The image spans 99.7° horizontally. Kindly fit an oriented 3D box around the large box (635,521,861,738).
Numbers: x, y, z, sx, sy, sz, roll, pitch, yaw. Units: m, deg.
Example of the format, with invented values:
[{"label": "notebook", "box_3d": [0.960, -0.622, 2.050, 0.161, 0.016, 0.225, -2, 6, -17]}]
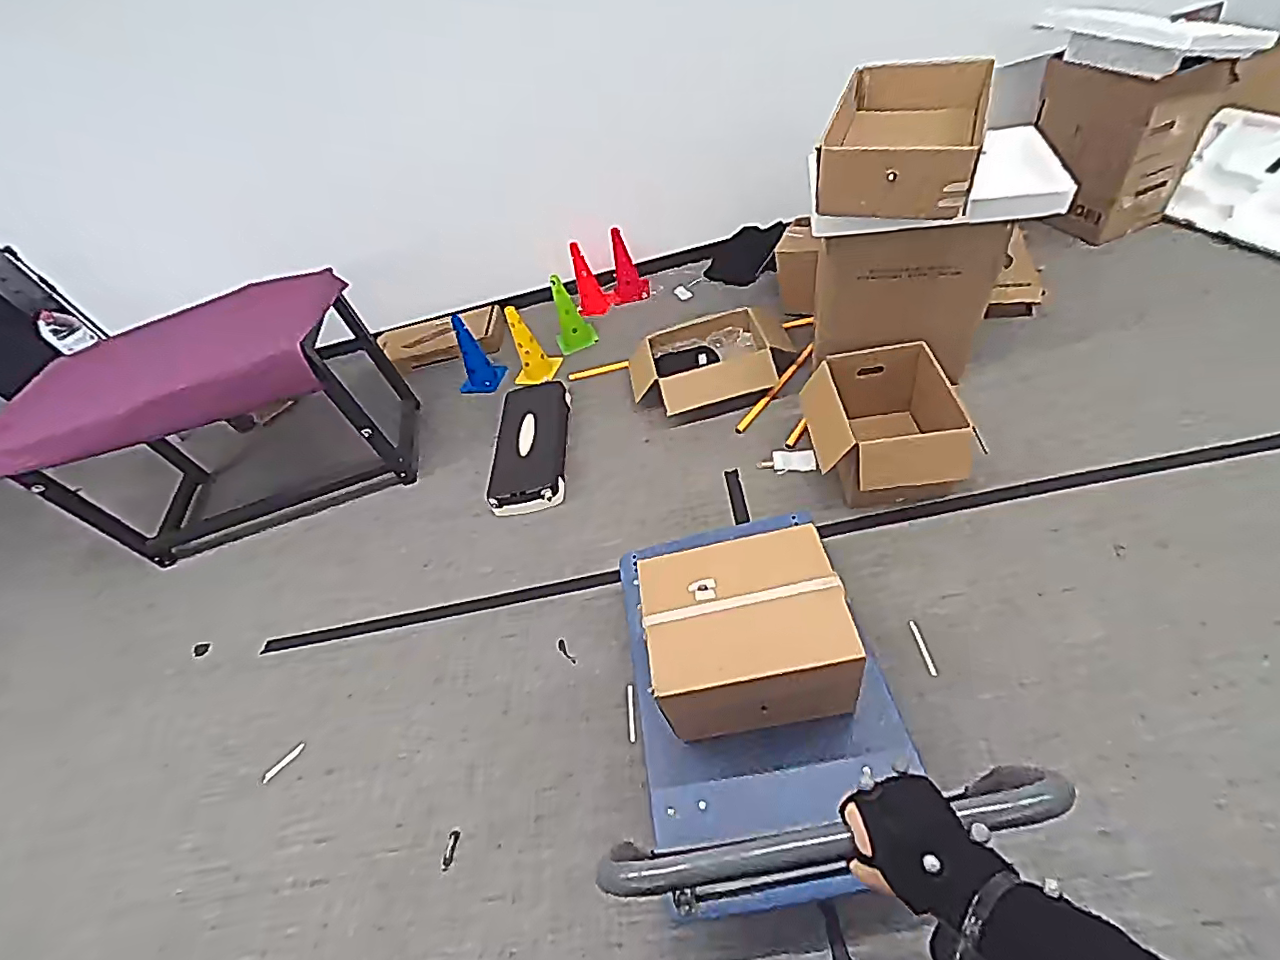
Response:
[{"label": "large box", "box_3d": [0.233, 0.343, 1.210, 0.408, 0.320, 0.320, -14, 47, 6]}]
